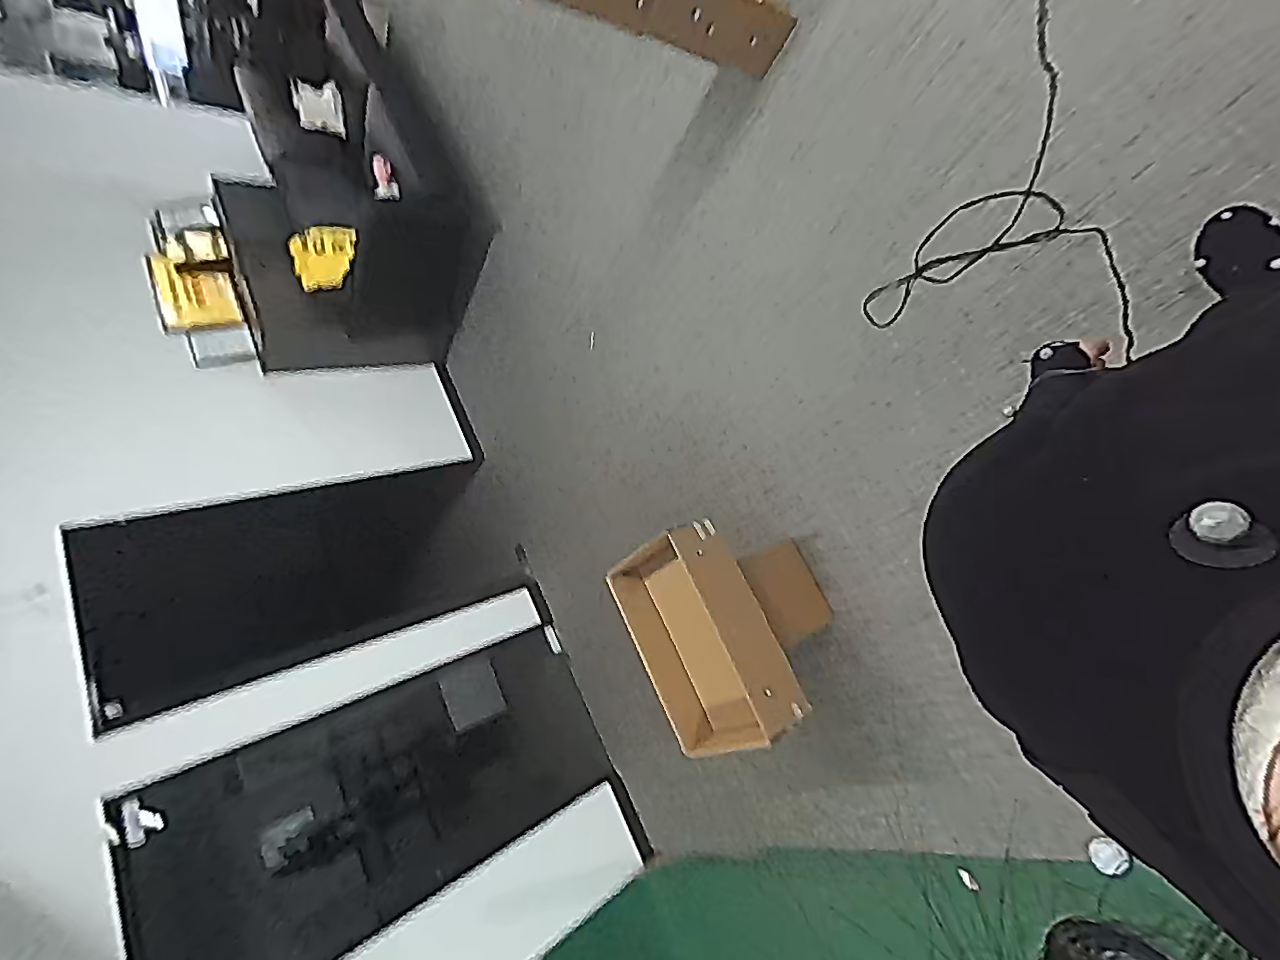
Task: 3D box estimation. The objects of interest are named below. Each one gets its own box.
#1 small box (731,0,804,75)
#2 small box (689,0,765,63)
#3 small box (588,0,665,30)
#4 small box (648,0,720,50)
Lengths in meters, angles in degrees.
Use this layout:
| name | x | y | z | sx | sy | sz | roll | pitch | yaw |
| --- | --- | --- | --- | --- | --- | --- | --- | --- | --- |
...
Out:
| name | x | y | z | sx | sy | sz | roll | pitch | yaw |
| --- | --- | --- | --- | --- | --- | --- | --- | --- | --- |
| small box | 0.335 | -1.319 | 1.559 | 0.179 | 0.176 | 0.168 | -46 | 65 | 47 |
| small box | 0.205 | -1.283 | 1.466 | 0.179 | 0.176 | 0.168 | -46 | 66 | 48 |
| small box | -0.038 | -1.204 | 1.262 | 0.179 | 0.176 | 0.168 | 60 | 140 | 17 |
| small box | 0.089 | -1.241 | 1.358 | 0.168 | 0.176 | 0.179 | 61 | 139 | 18 |
